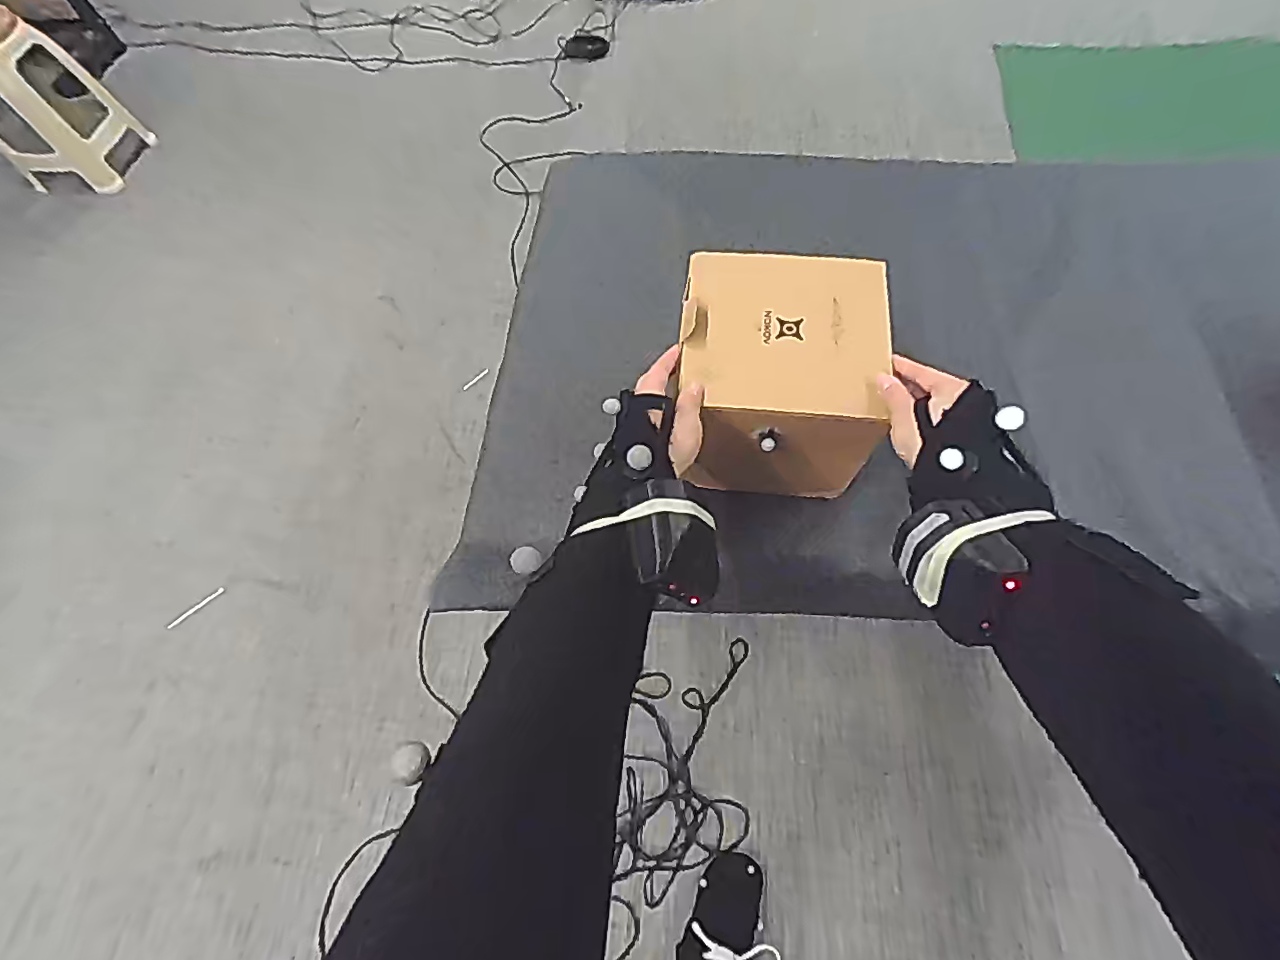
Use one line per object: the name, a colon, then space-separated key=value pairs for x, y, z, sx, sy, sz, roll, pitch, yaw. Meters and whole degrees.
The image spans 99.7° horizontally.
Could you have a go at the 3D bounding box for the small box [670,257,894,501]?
small box: x=0.123 y=-0.089 z=0.528 sx=0.179 sy=0.176 sz=0.168 roll=6 pitch=66 yaw=4
